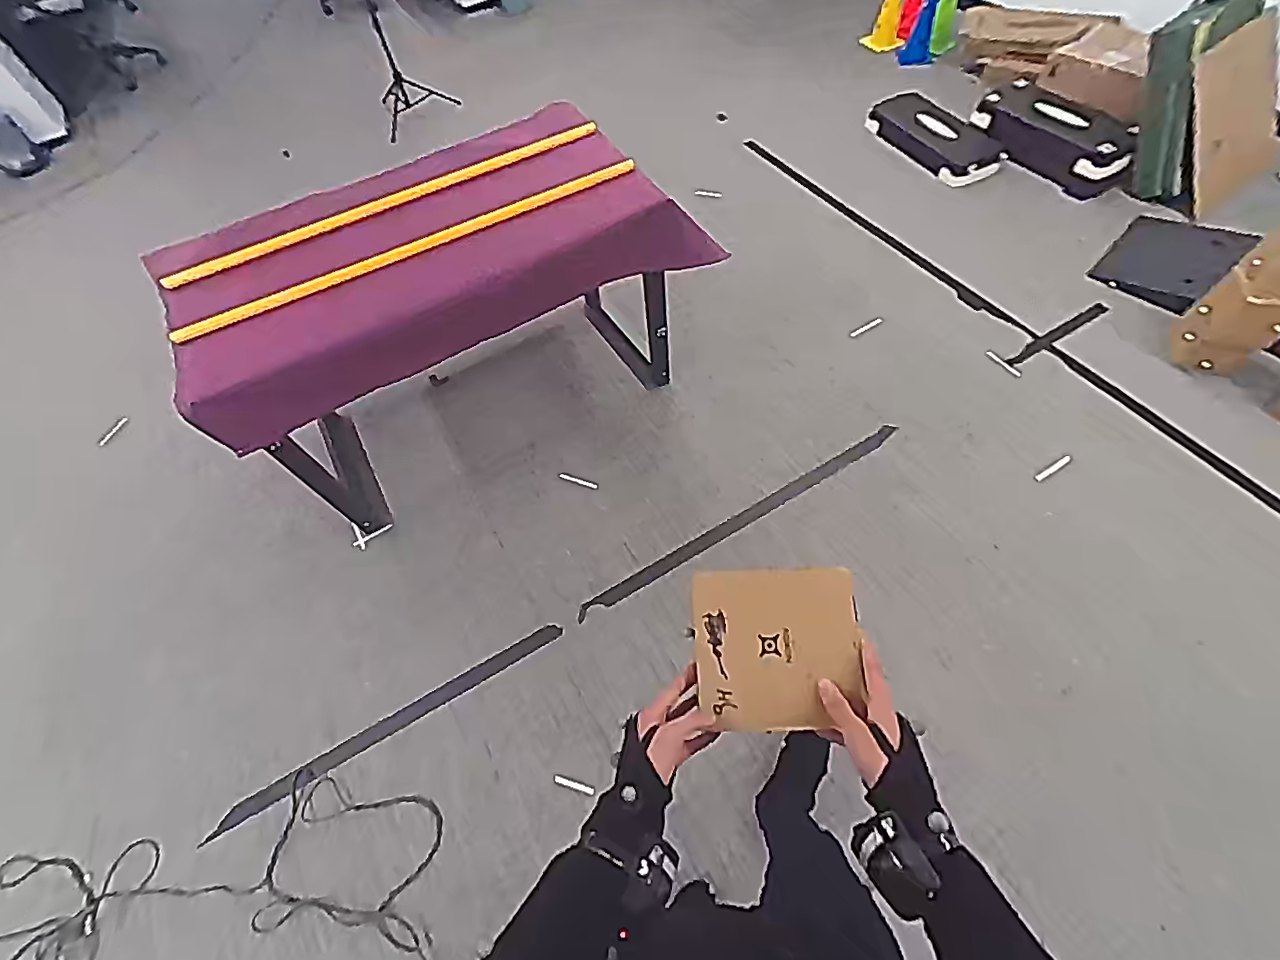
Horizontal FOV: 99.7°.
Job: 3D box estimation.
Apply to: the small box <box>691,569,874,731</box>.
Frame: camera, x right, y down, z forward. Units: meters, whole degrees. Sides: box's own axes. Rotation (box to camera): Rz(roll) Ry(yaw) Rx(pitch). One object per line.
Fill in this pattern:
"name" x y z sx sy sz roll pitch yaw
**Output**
"small box" 0.154 0.199 0.647 0.179 0.176 0.168 -2 72 3
